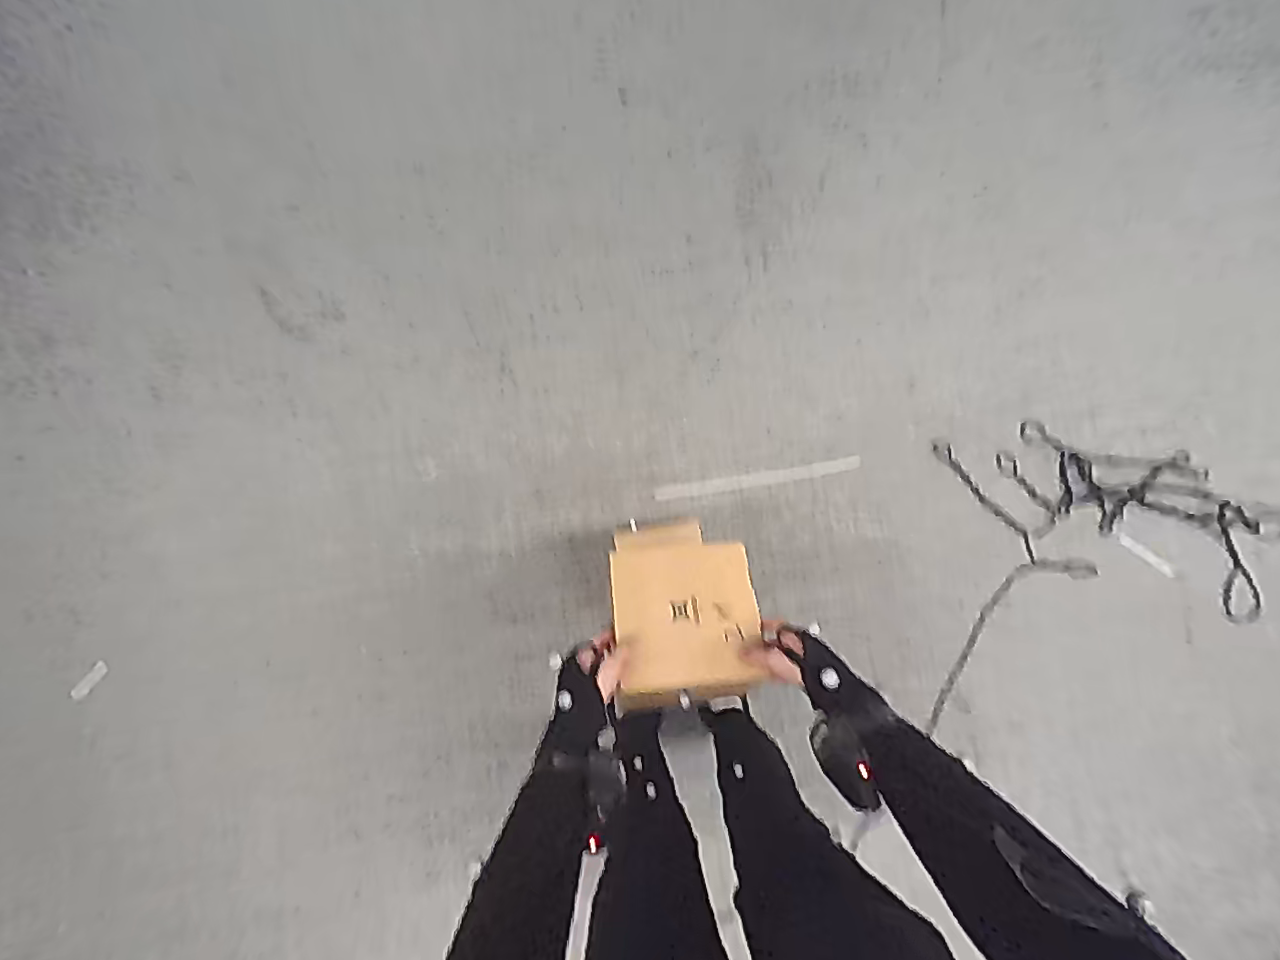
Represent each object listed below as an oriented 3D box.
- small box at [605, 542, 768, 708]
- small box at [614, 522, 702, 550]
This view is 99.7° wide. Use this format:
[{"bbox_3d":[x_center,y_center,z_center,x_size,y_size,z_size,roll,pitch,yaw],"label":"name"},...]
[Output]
[{"bbox_3d":[0.047,0.193,0.703,0.179,0.176,0.168,-3,60,-5],"label":"small box"},{"bbox_3d":[0.046,0.185,1.159,0.179,0.176,0.168,-10,87,-1],"label":"small box"}]
